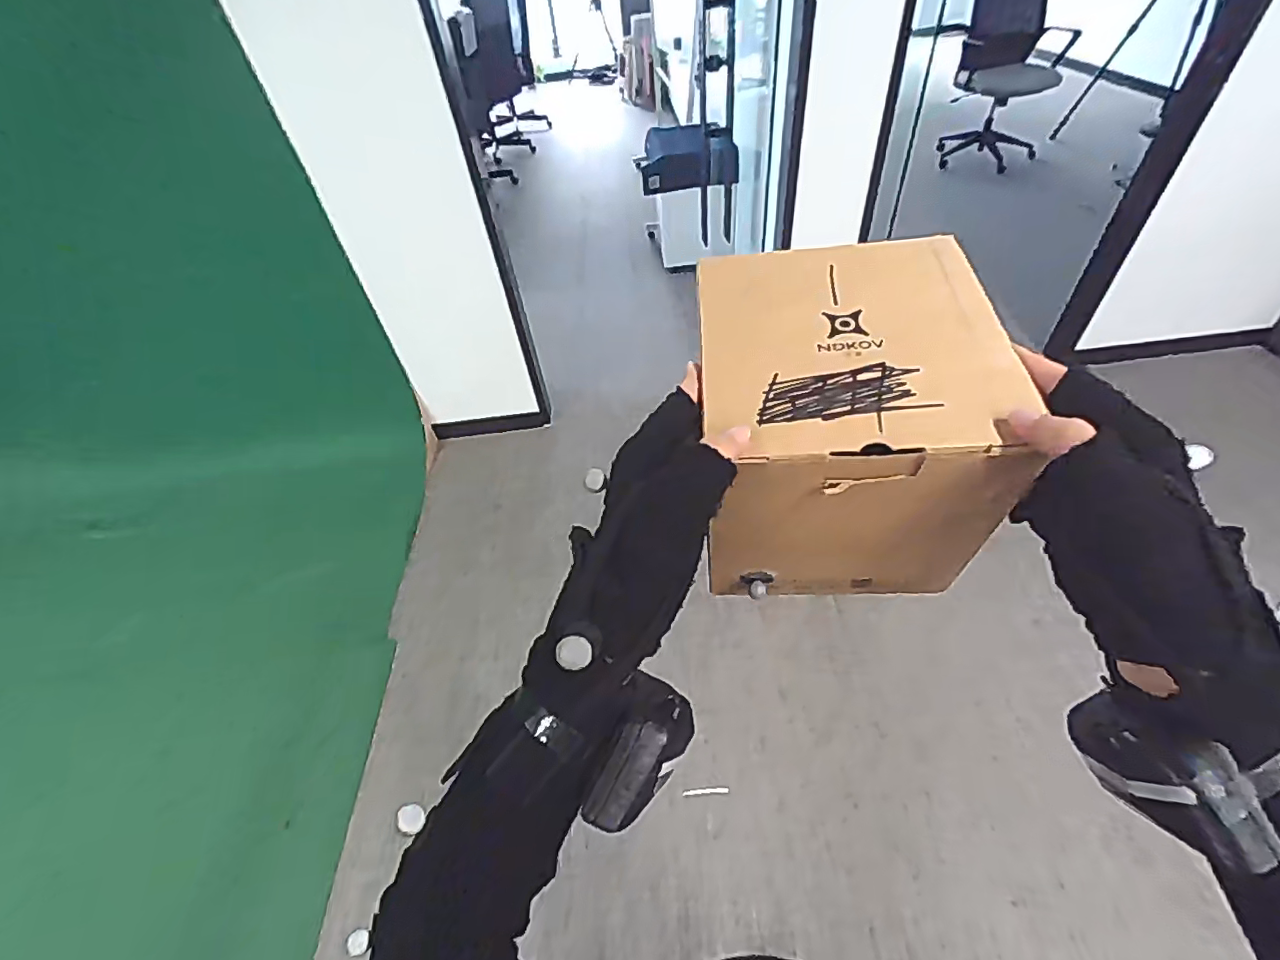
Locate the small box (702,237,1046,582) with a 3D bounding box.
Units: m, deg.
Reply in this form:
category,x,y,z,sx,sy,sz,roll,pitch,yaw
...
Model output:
category,x,y,z,sx,sy,sz,roll,pitch,yaw
small box,0.130,-0.038,0.379,0.168,0.176,0.179,-2,54,8
